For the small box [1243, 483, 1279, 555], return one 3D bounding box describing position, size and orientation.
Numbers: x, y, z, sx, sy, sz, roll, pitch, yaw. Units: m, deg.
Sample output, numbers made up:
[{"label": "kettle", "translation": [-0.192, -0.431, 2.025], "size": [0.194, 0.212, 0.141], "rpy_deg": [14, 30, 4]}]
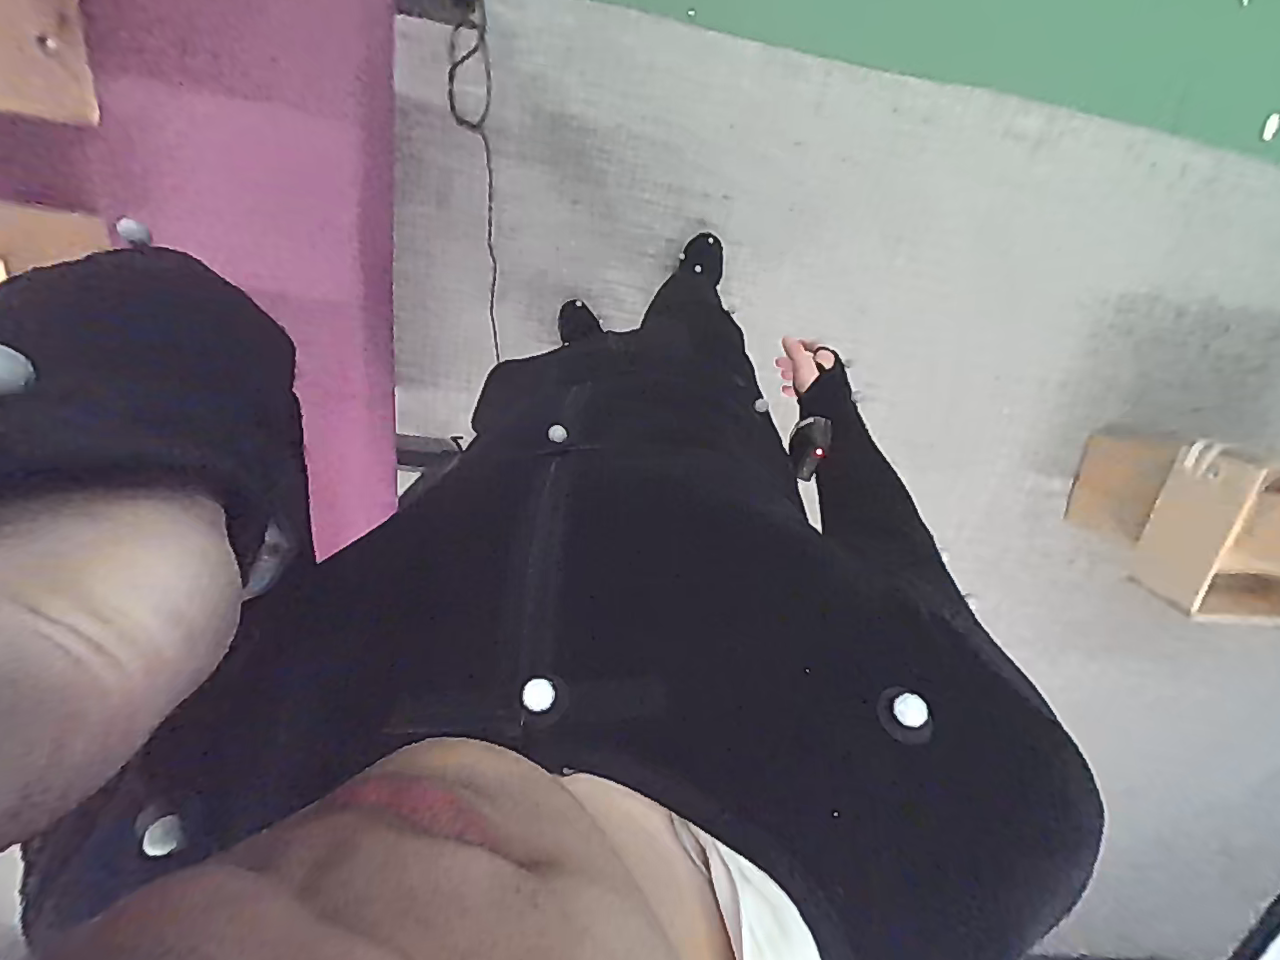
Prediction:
[{"label": "small box", "translation": [1.639, 0.112, 1.299], "size": [0.179, 0.176, 0.168], "rpy_deg": [4, 109, -7]}]
